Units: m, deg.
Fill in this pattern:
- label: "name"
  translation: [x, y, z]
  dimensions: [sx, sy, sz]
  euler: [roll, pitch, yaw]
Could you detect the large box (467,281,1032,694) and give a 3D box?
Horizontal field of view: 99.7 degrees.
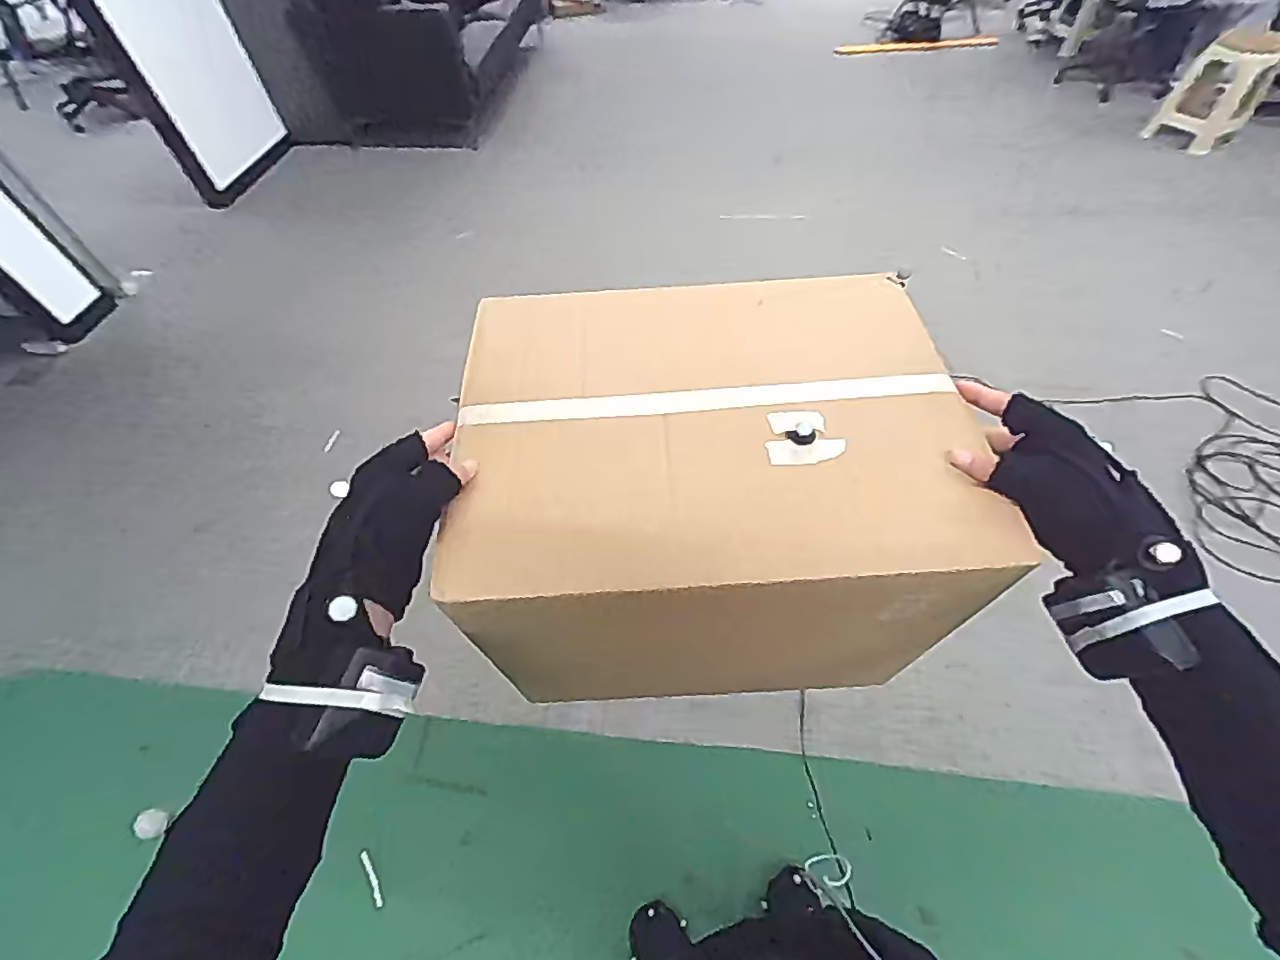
- label: "large box"
  translation: [0.070, 0.022, 0.577]
  dimensions: [0.408, 0.320, 0.320]
  euler: [-3, 57, 0]
